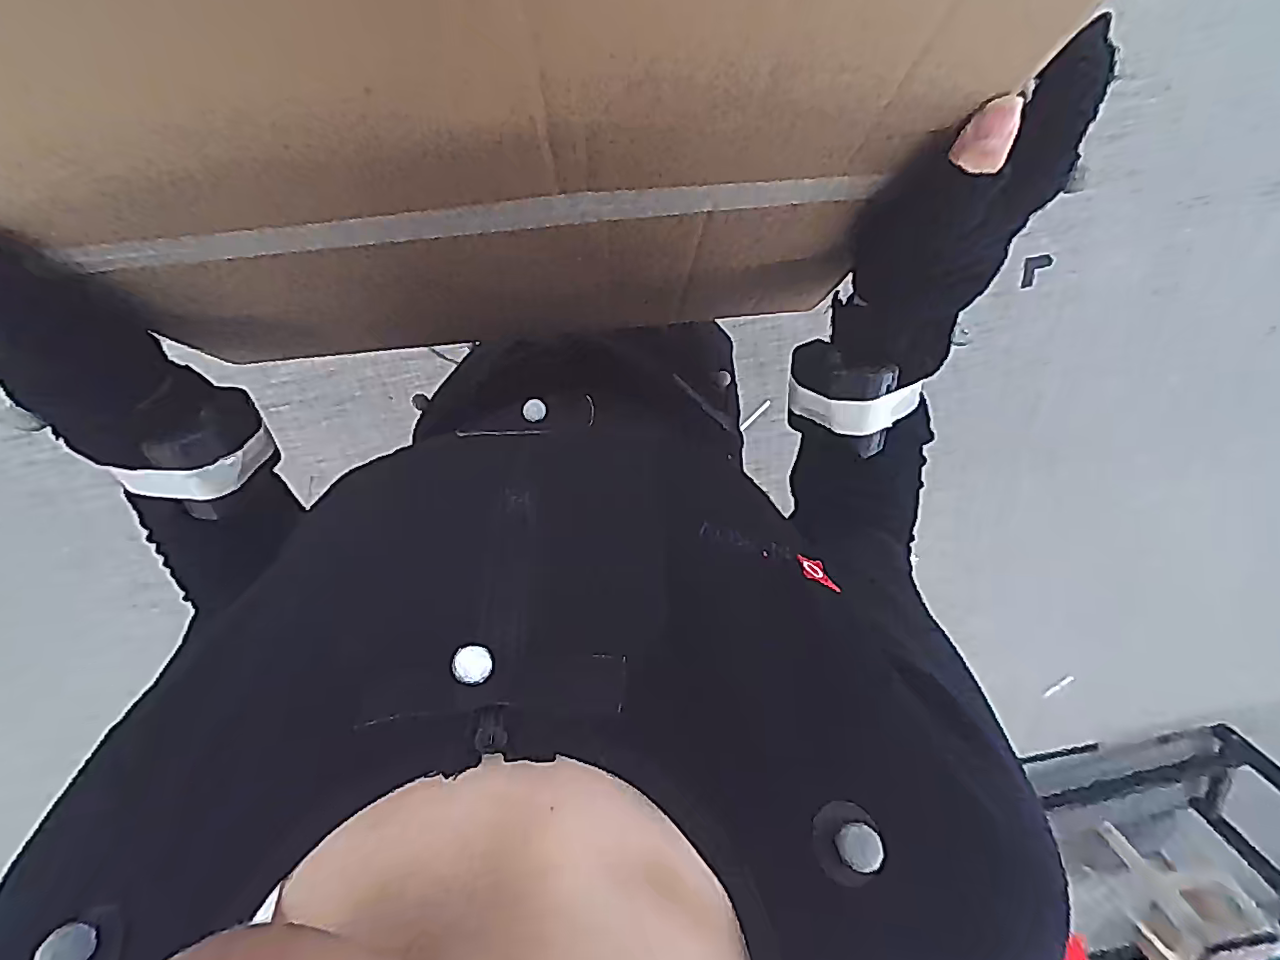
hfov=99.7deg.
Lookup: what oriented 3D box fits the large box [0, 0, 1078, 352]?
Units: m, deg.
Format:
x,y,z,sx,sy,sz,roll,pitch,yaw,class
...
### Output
x,y,z,sx,sy,sz,roll,pitch,yaw,class
-0.083,-0.271,0.243,0.408,0.320,0.320,-6,87,-3,large box
